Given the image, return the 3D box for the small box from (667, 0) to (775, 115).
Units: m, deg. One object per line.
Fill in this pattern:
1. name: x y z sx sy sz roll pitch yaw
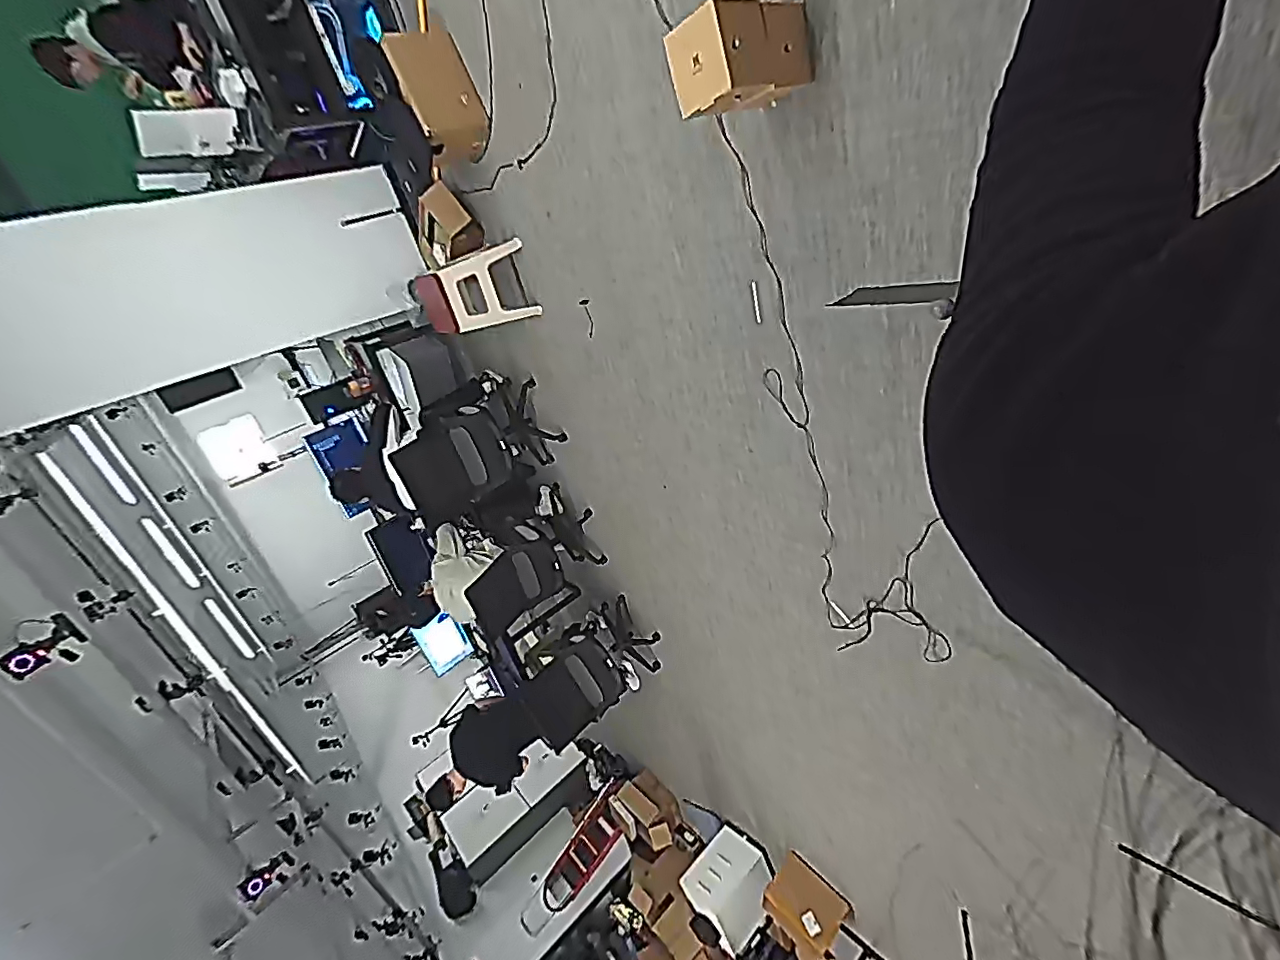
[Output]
1. small box: 0.197 -1.003 1.280 0.168 0.176 0.179 8 123 51

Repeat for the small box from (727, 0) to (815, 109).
1. small box: 0.318 -1.072 1.364 0.168 0.176 0.179 13 129 50
